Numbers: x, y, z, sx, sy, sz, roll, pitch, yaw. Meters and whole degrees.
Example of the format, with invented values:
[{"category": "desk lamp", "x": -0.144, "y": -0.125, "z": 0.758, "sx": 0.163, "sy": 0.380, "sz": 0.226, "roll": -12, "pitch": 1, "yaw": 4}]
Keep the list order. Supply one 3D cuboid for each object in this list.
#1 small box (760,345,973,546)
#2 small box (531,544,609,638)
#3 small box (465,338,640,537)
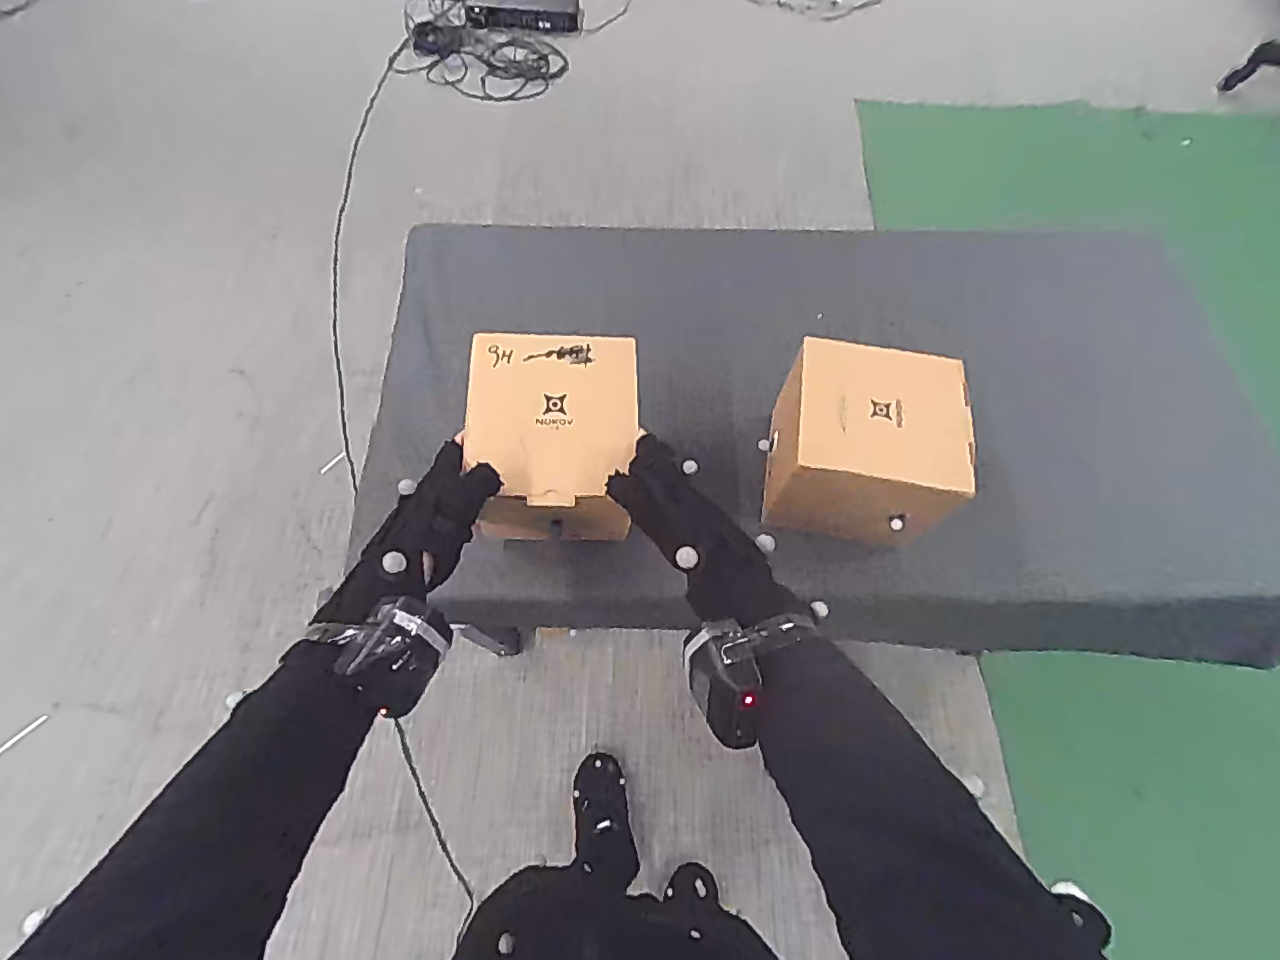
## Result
[{"category": "small box", "x": 0.252, "y": -0.031, "z": 0.639, "sx": 0.179, "sy": 0.176, "sz": 0.168, "roll": 9, "pitch": 63, "yaw": 3}, {"category": "small box", "x": -0.164, "y": 0.269, "z": 1.290, "sx": 0.168, "sy": 0.176, "sz": 0.179, "roll": -6, "pitch": 66, "yaw": -4}, {"category": "small box", "x": -0.089, "y": -0.035, "z": 0.603, "sx": 0.168, "sy": 0.176, "sz": 0.179, "roll": 1, "pitch": 71, "yaw": -6}]
